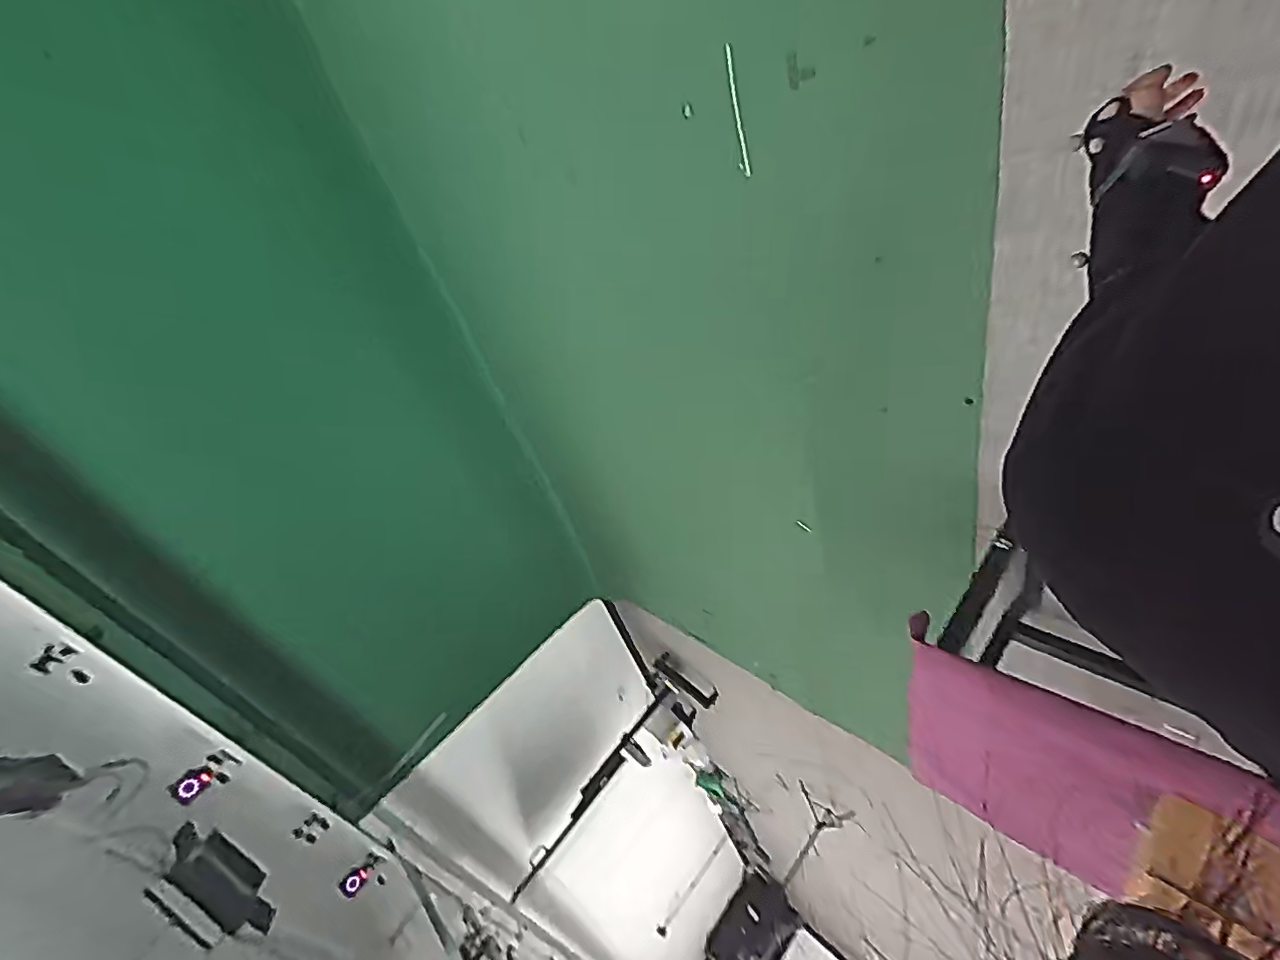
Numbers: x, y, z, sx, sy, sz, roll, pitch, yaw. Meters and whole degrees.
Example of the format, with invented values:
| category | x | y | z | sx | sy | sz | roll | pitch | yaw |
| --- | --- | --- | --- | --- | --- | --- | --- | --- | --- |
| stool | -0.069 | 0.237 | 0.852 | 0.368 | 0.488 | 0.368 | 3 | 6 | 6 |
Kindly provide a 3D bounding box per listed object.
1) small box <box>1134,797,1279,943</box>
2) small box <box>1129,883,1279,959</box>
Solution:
| category | x | y | z | sx | sy | sz | roll | pitch | yaw |
| --- | --- | --- | --- | --- | --- | --- | --- | --- | --- |
| small box | 0.997 | 0.690 | 0.921 | 0.179 | 0.176 | 0.168 | 23 | 144 | 42 |
| small box | 0.890 | 0.780 | 0.833 | 0.179 | 0.176 | 0.168 | 20 | 142 | 42 |
